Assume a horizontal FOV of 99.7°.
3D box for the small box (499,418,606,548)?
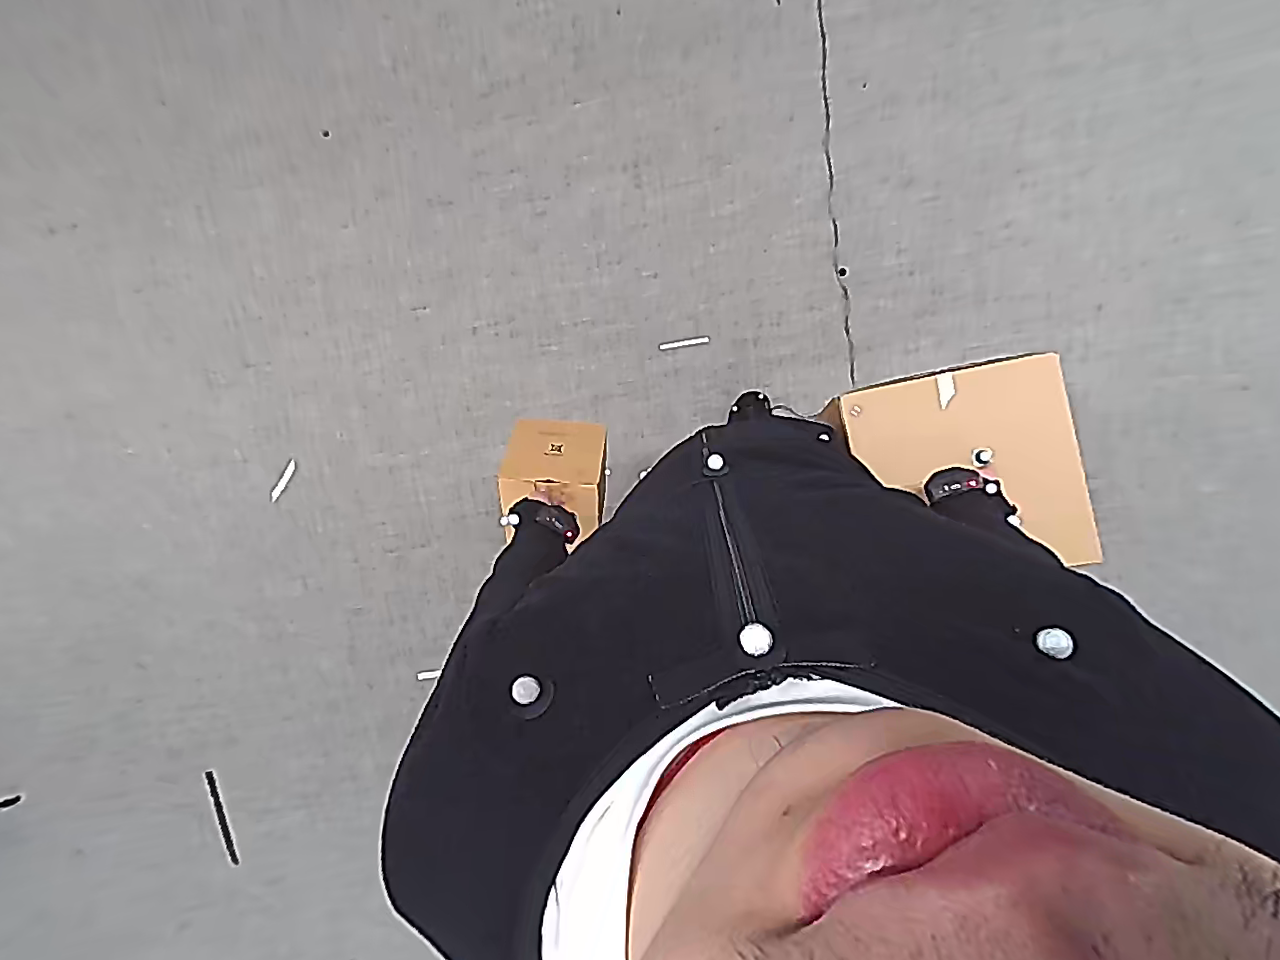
[{"bbox_3d":[-0.152,0.007,1.000,0.168,0.179,0.176,4,130,-1],"label":"small box"}]
